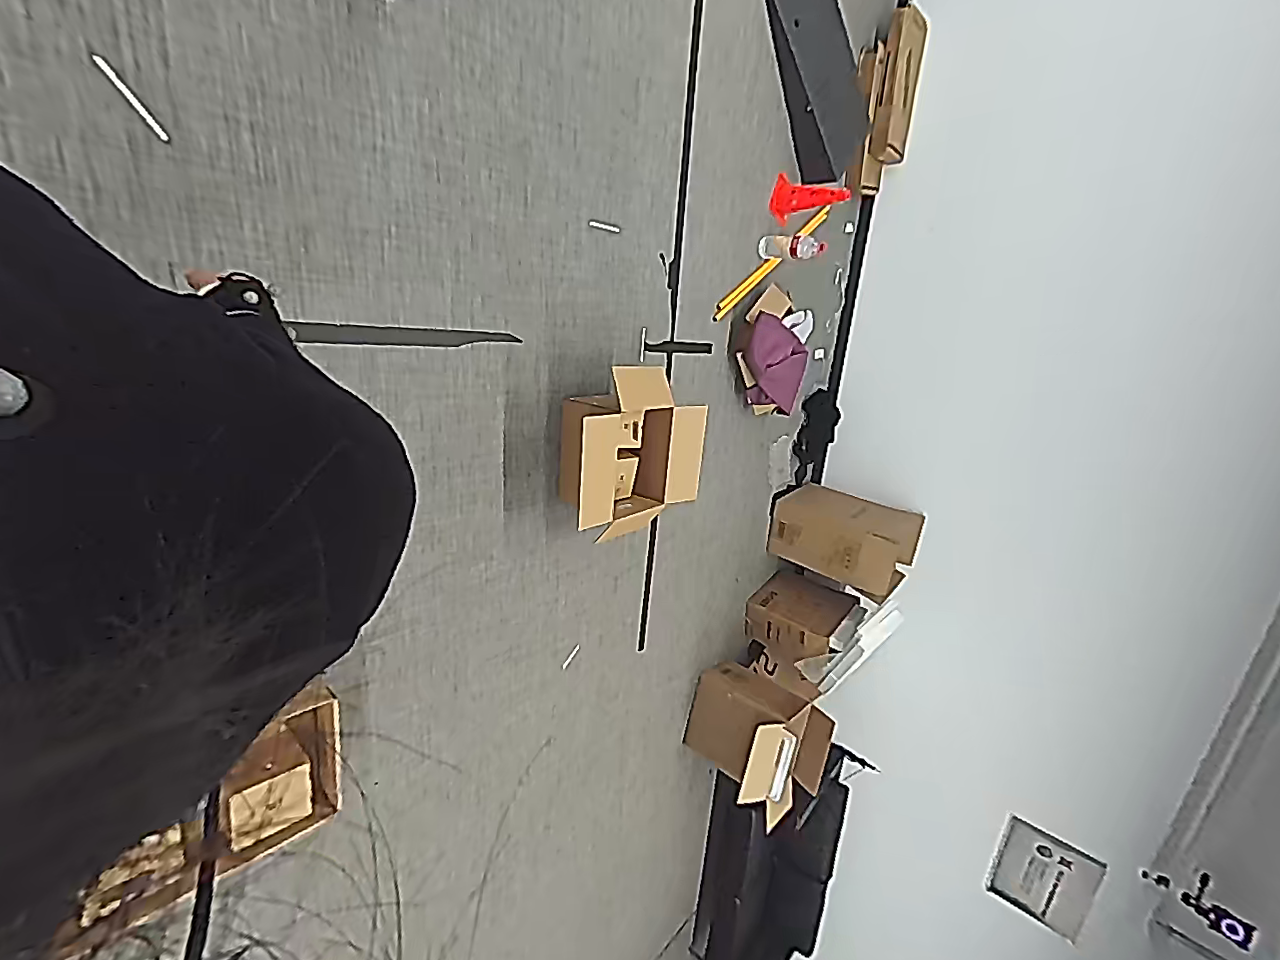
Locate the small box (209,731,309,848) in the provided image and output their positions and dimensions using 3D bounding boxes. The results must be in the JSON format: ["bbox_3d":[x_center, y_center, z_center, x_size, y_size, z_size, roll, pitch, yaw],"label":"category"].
[{"bbox_3d":[-0.995,0.796,1.414,0.179,0.176,0.168,-8,109,-48],"label":"small box"}]
